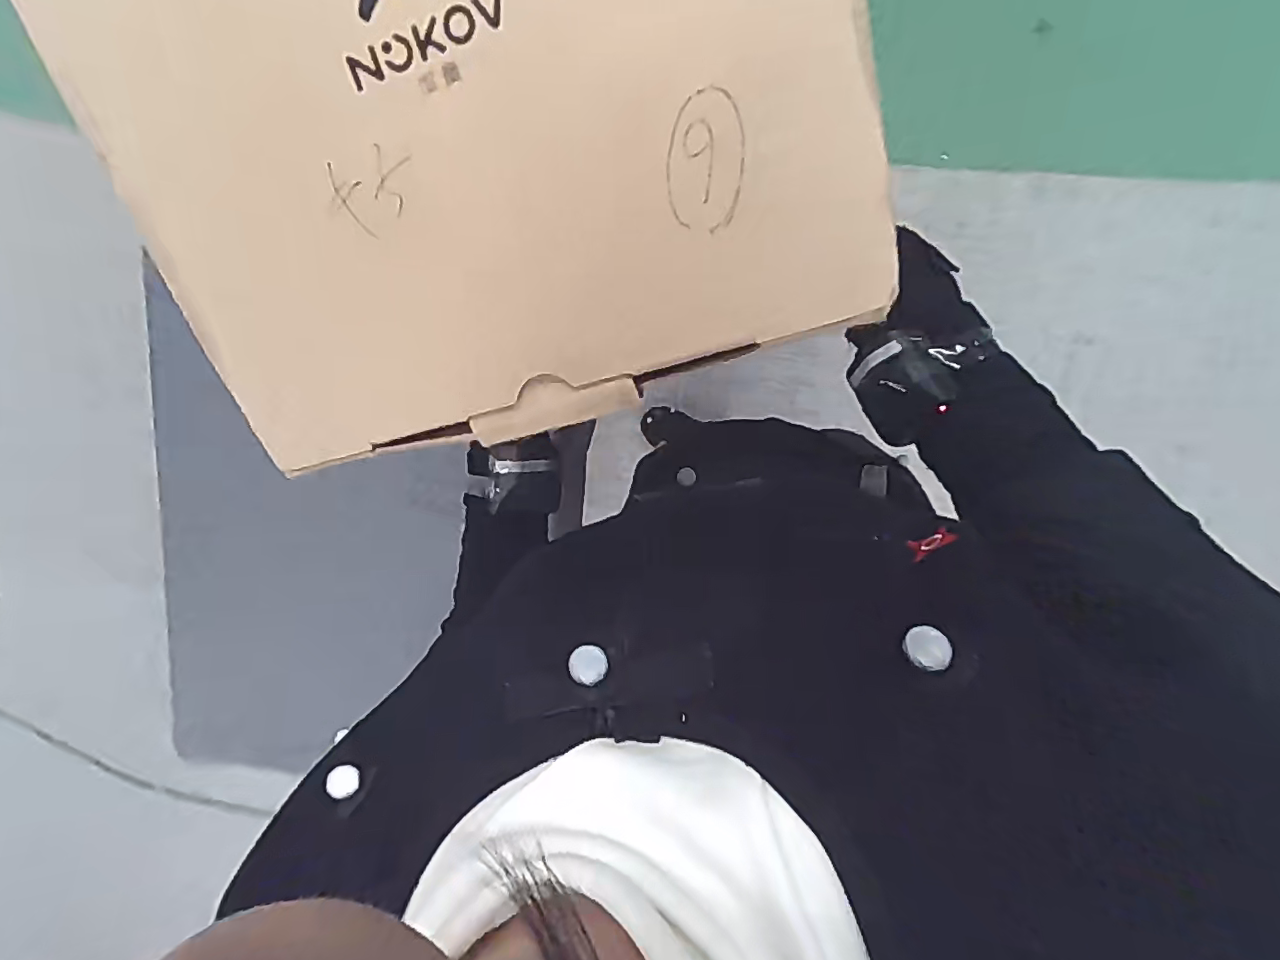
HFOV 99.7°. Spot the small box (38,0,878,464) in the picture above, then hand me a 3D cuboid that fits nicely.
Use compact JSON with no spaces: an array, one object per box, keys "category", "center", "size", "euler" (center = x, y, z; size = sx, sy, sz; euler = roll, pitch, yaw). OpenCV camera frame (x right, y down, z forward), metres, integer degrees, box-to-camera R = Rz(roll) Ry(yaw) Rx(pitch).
[{"category":"small box","center":[-0.034,-0.127,0.181],"size":[0.168,0.176,0.179],"euler":[-11,110,12]}]
